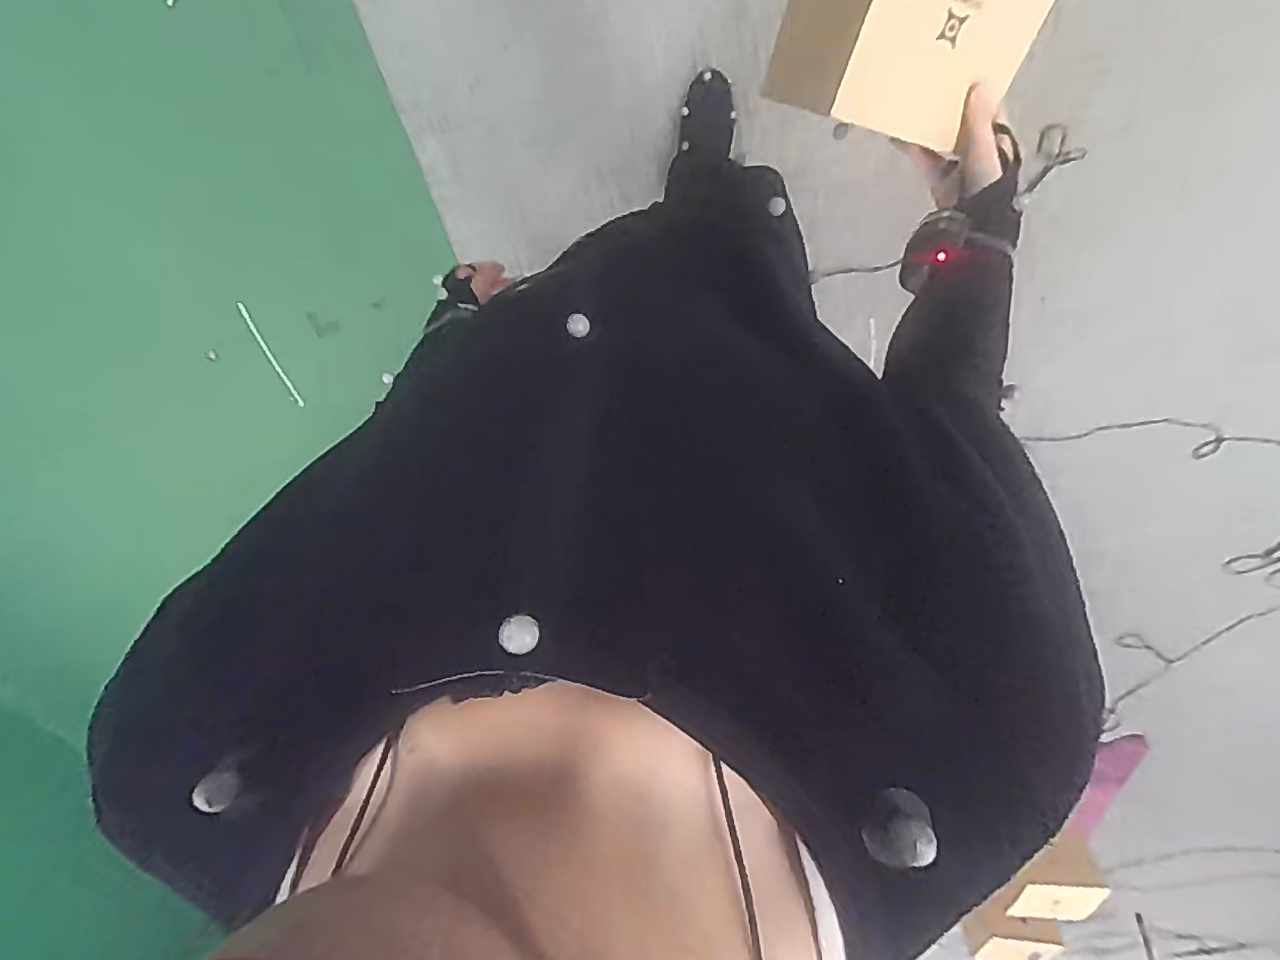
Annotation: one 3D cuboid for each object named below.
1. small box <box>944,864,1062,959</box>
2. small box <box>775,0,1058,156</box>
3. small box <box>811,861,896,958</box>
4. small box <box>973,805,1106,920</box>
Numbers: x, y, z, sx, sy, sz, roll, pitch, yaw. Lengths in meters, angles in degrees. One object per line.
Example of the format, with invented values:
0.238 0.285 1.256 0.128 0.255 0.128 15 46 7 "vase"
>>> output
0.942 1.141 1.422 0.179 0.176 0.168 3 123 4 "small box"
0.248 -0.433 0.508 0.168 0.176 0.179 3 127 -18 "small box"
0.575 1.164 1.470 0.179 0.176 0.168 -9 121 9 "small box"
0.905 0.877 1.246 0.168 0.176 0.179 -1 124 6 "small box"
